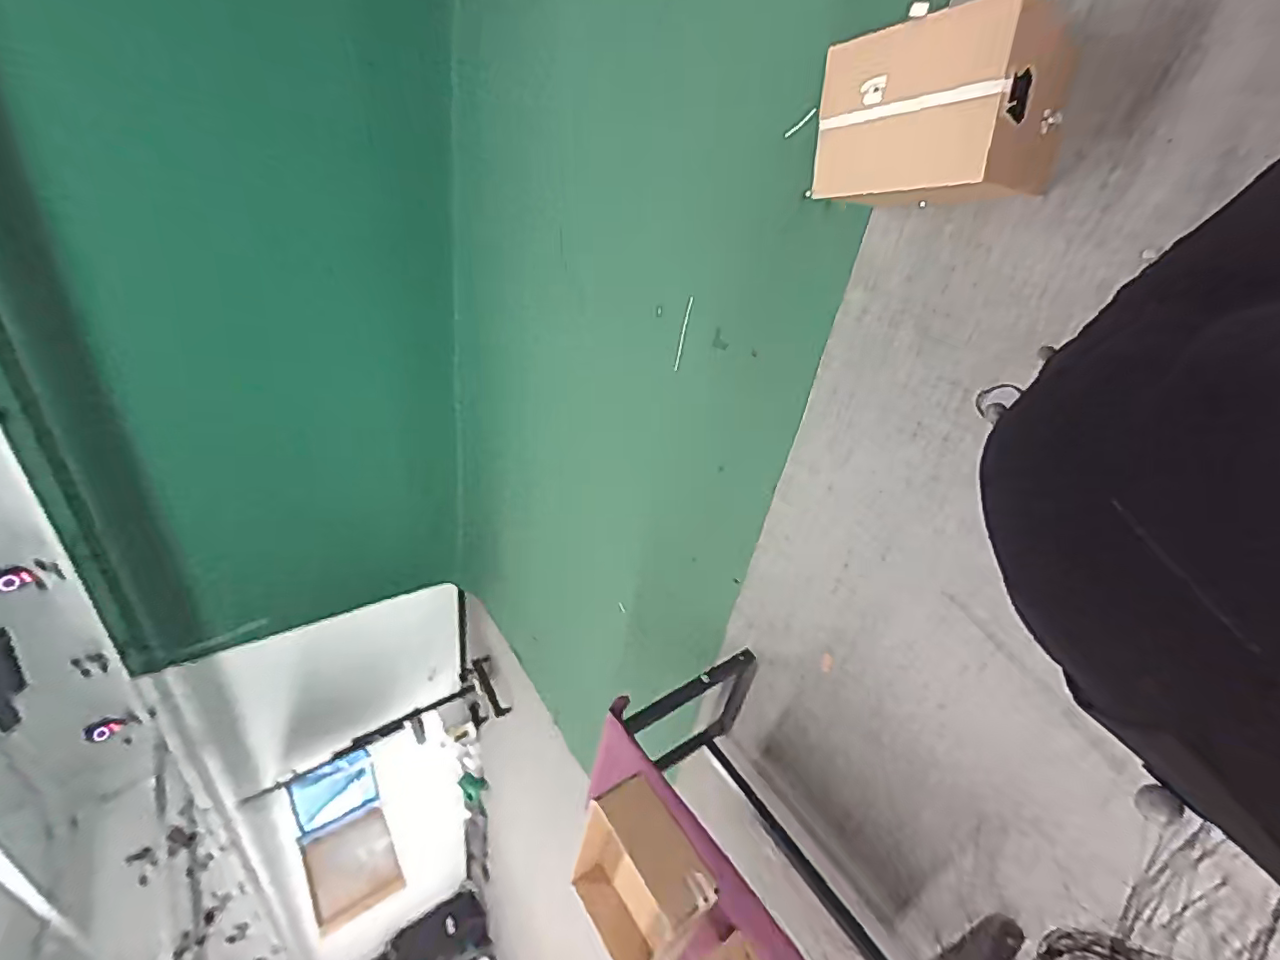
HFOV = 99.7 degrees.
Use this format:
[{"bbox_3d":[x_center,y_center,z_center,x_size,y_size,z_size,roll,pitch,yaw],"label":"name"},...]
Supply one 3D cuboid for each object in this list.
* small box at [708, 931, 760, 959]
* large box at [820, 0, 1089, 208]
[{"bbox_3d":[0.243,1.360,1.439,0.168,0.176,0.179,44,135,38],"label":"small box"},{"bbox_3d":[0.683,-0.809,1.216,0.408,0.320,0.320,27,122,49],"label":"large box"}]
